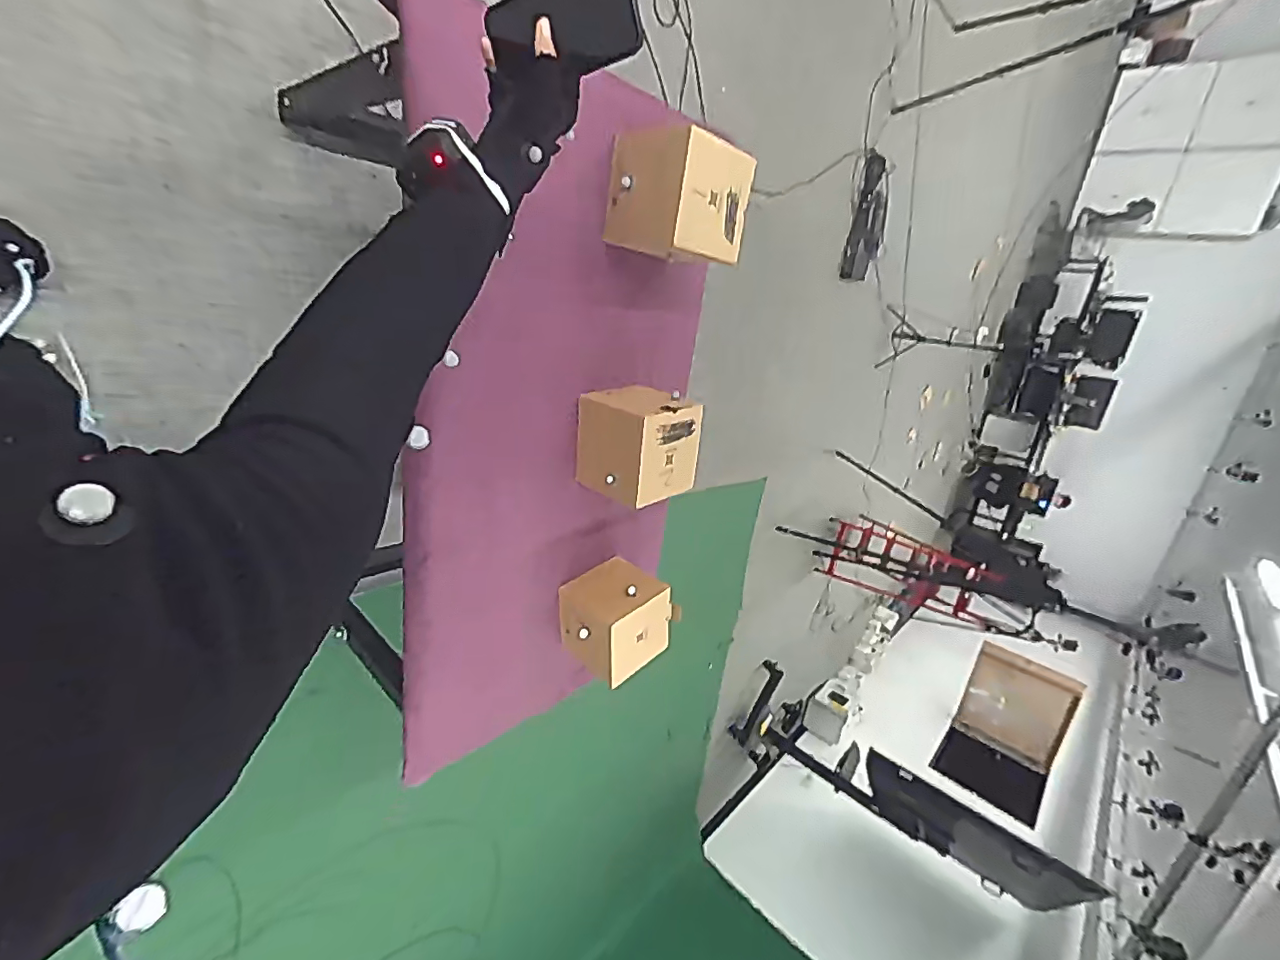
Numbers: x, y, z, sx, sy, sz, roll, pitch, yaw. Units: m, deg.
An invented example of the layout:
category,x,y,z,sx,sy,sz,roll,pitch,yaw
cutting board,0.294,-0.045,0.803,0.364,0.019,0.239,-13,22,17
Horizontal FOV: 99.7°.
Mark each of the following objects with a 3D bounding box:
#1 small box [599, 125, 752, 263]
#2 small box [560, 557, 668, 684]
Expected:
category,x,y,z,sx,sy,sz,roll,pitch,yaw
small box,0.058,-0.473,0.913,0.179,0.176,0.168,-10,115,-45
small box,-0.060,0.292,1.164,0.179,0.176,0.168,-25,125,-42
